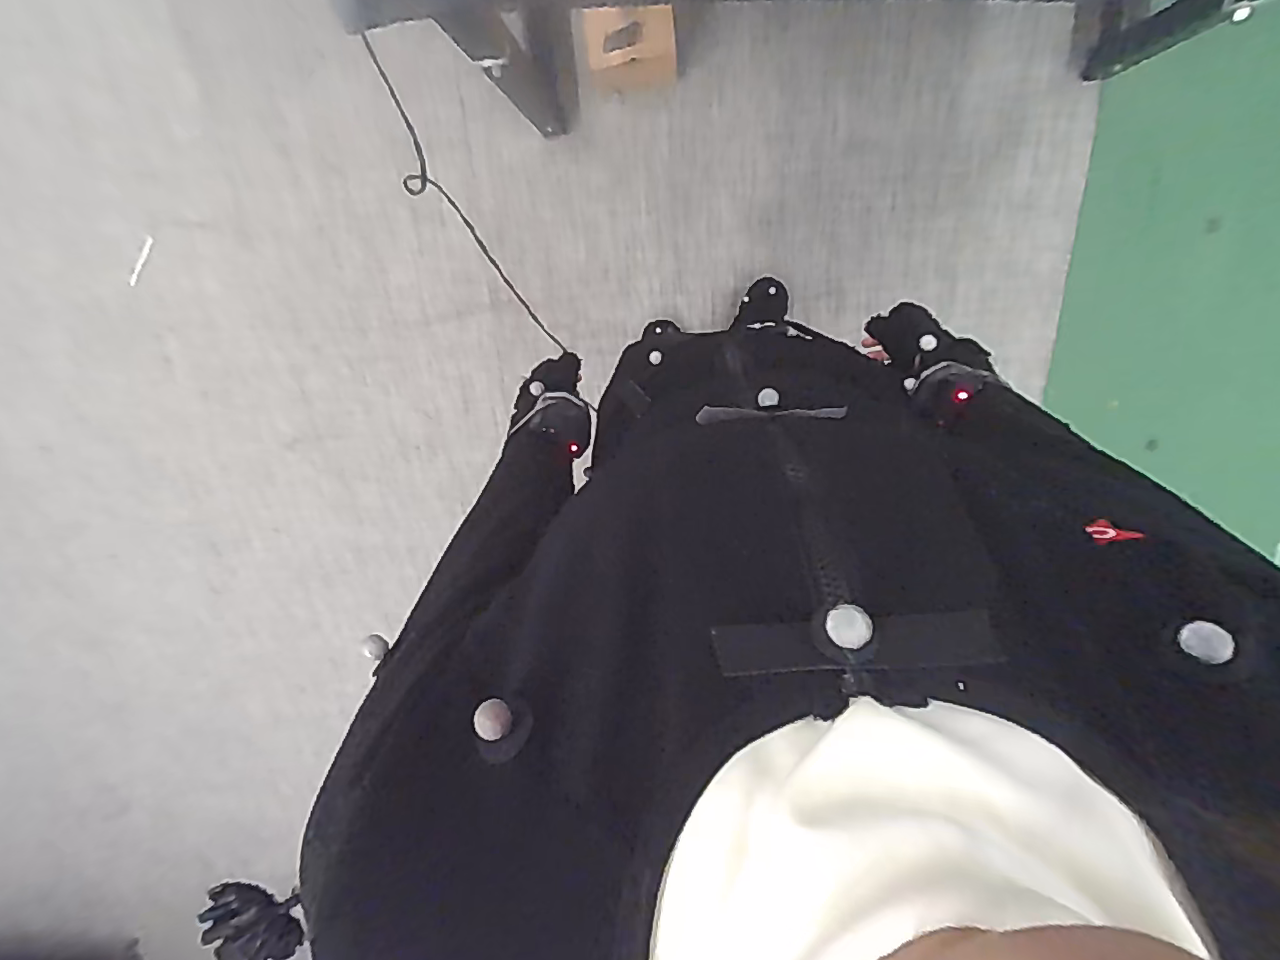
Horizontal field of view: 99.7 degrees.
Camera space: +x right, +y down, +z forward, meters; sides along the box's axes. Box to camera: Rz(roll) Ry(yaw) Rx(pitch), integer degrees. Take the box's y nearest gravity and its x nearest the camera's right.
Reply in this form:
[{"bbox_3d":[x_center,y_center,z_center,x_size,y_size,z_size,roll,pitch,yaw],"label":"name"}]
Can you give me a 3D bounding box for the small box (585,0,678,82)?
[{"bbox_3d":[-0.014,-0.910,1.056,0.168,0.176,0.179,-5,110,5],"label":"small box"}]
